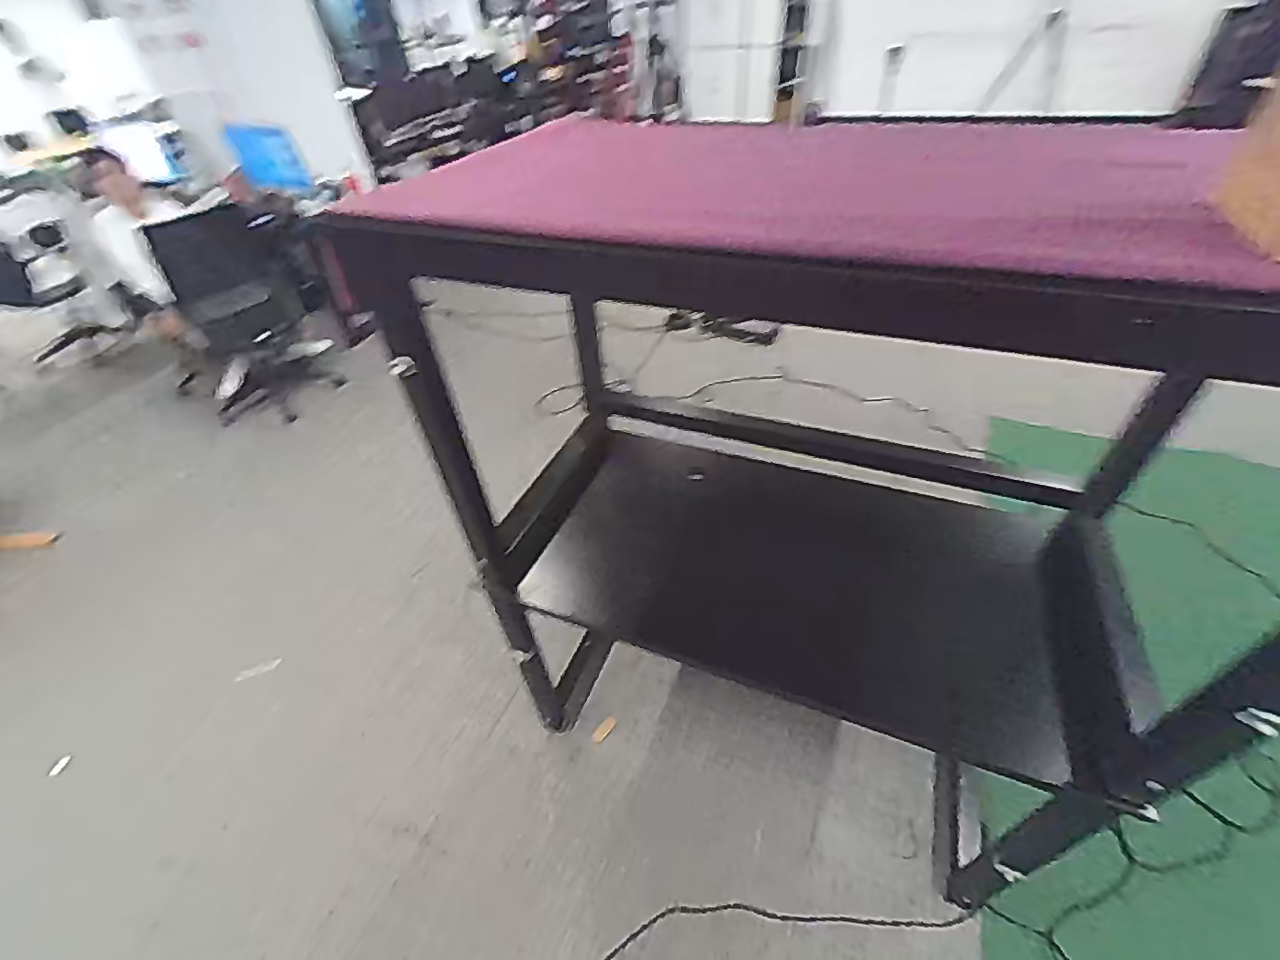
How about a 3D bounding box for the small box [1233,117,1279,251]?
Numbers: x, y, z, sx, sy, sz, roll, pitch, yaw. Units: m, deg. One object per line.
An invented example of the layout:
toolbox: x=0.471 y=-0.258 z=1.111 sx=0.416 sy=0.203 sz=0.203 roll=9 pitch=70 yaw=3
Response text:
small box: x=0.600 y=-0.260 z=0.389 sx=0.168 sy=0.176 sz=0.179 roll=14 pitch=46 yaw=21
